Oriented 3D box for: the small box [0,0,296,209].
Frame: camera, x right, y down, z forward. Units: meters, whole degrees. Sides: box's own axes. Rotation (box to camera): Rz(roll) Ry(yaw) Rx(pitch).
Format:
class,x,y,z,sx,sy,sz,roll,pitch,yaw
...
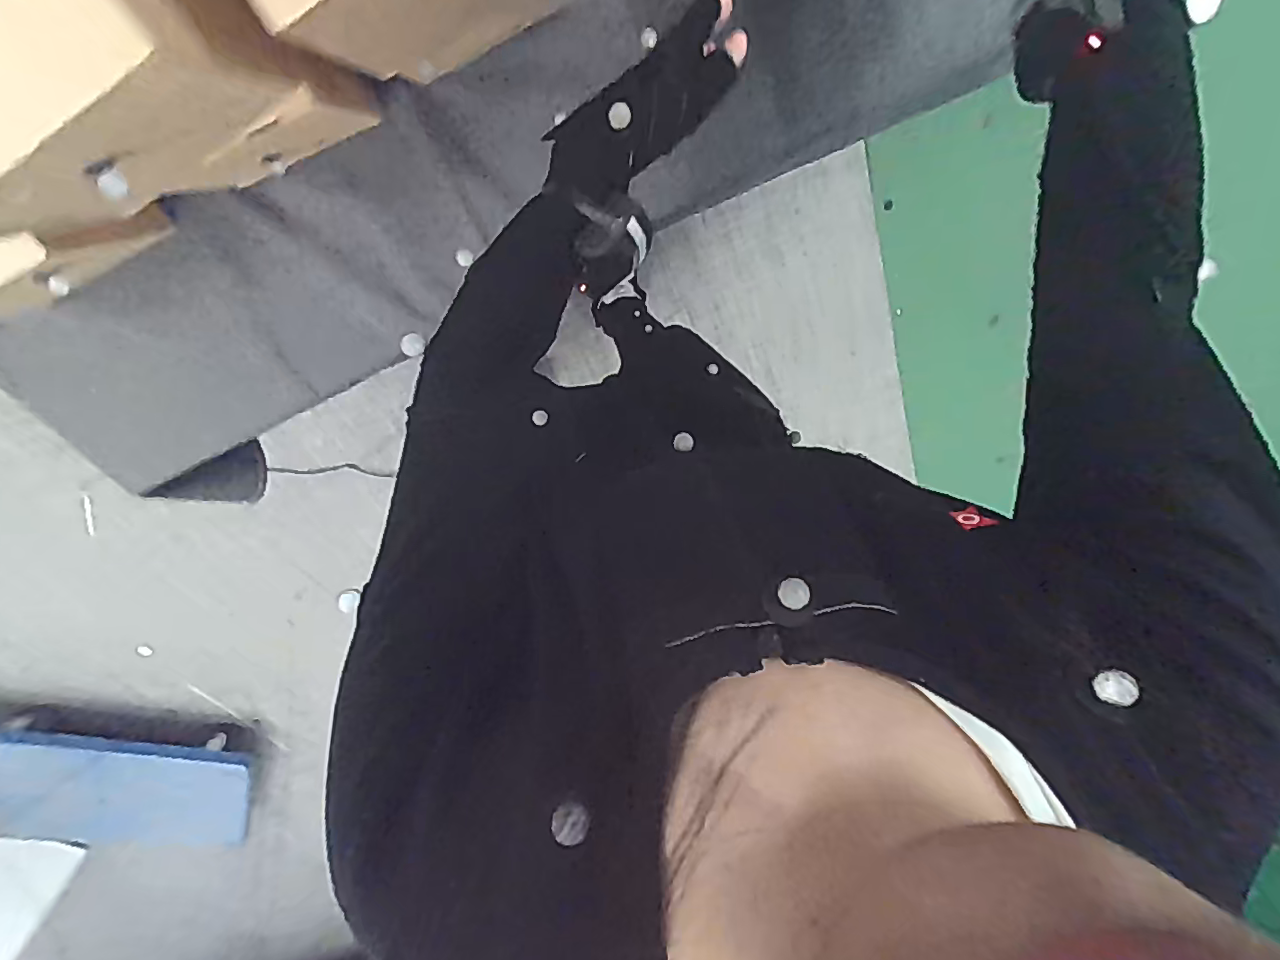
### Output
class,x,y,z,sx,sy,sz,roll,pitch,yaw
small box,-0.330,-0.261,0.279,0.179,0.176,0.168,-27,122,10
